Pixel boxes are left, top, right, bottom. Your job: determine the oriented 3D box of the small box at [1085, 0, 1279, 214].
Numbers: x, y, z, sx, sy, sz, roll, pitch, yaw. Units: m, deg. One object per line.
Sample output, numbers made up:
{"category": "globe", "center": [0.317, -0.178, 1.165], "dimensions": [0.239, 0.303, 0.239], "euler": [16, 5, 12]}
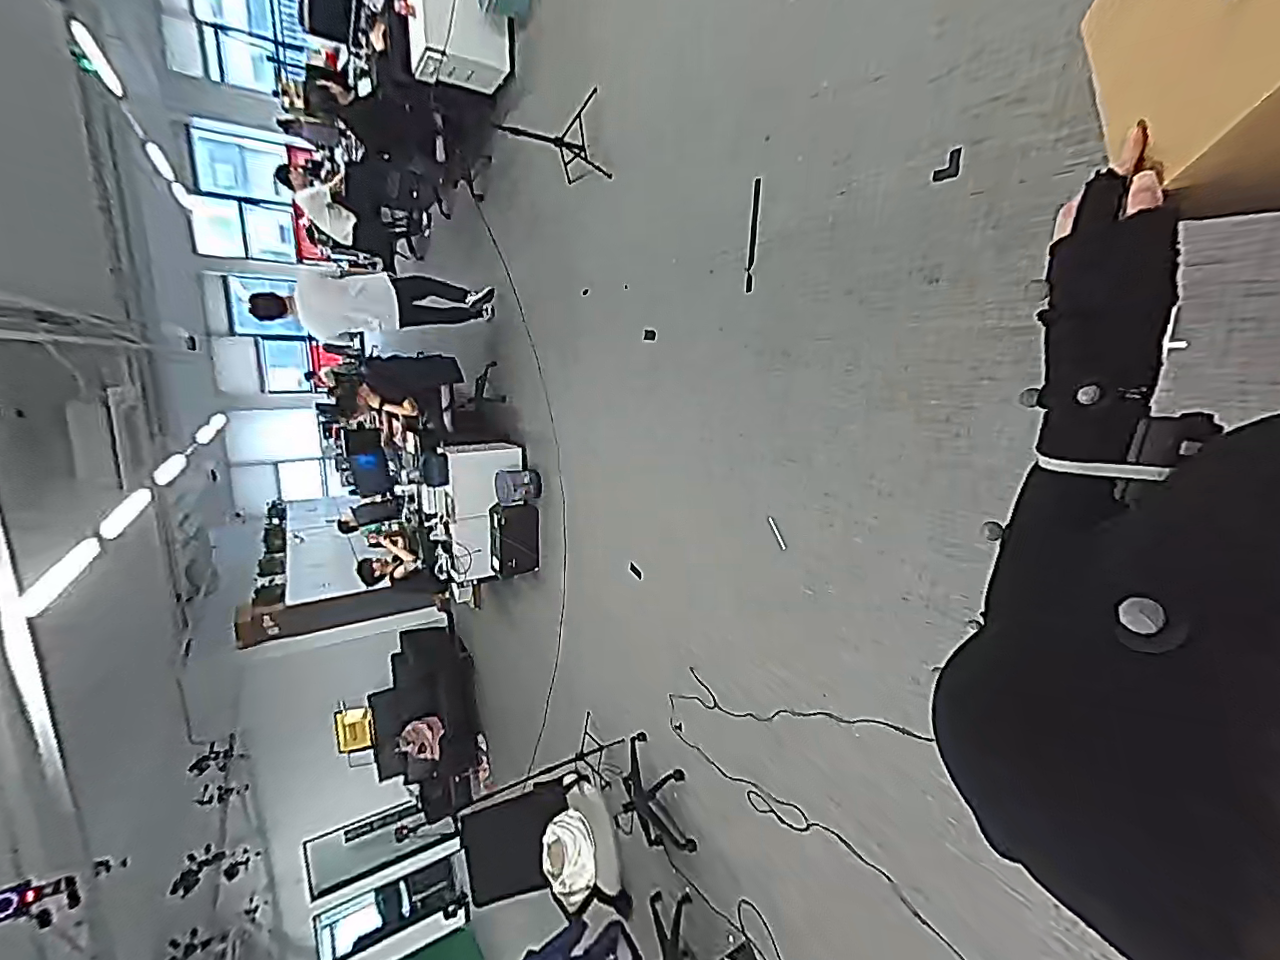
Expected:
{"category": "small box", "center": [0.388, -0.276, 0.287], "dimensions": [0.168, 0.179, 0.176], "euler": [56, -149, -78]}
